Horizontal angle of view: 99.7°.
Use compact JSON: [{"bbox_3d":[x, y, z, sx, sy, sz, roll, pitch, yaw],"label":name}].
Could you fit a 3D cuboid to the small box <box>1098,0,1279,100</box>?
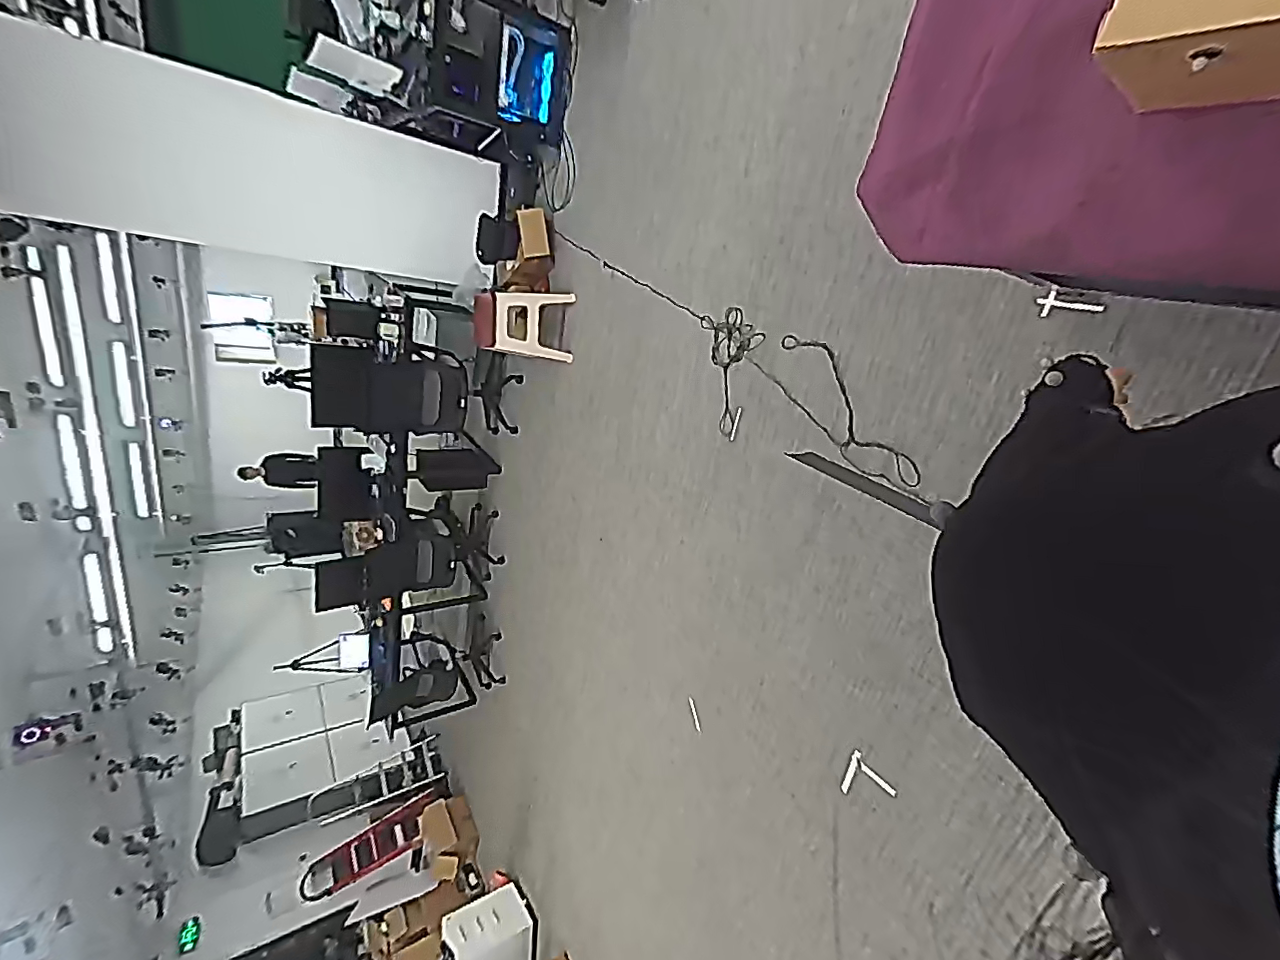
[{"bbox_3d":[0.554,-0.452,0.461,0.179,0.176,0.168,35,121,47],"label":"small box"}]
